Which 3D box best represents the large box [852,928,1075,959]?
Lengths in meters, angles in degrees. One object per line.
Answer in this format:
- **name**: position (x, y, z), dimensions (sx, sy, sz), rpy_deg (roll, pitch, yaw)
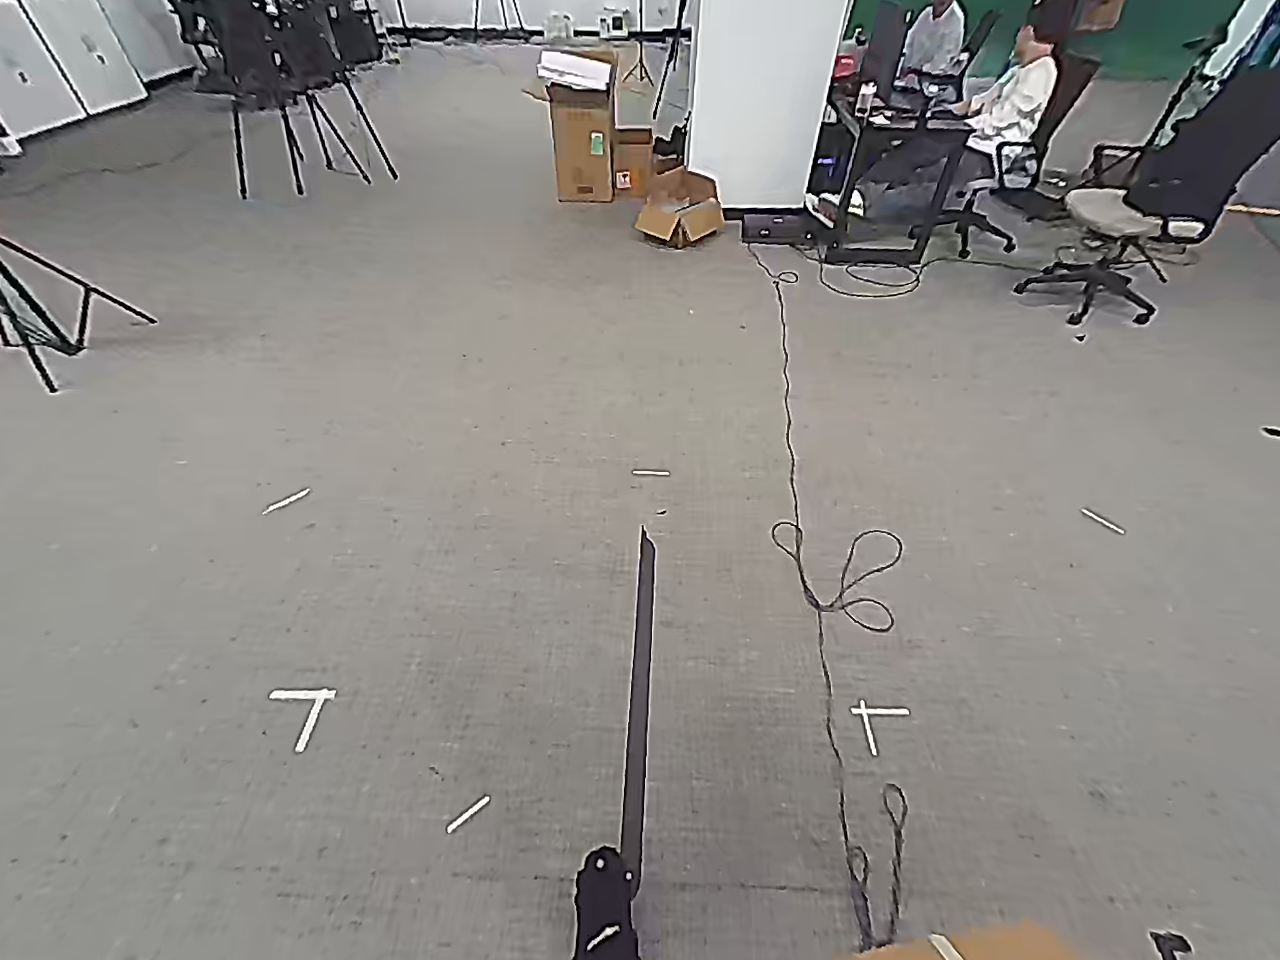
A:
- **large box**: position (0.454, 0.787, 0.561), dimensions (0.320, 0.408, 0.320), rpy_deg (-10, 82, -2)
